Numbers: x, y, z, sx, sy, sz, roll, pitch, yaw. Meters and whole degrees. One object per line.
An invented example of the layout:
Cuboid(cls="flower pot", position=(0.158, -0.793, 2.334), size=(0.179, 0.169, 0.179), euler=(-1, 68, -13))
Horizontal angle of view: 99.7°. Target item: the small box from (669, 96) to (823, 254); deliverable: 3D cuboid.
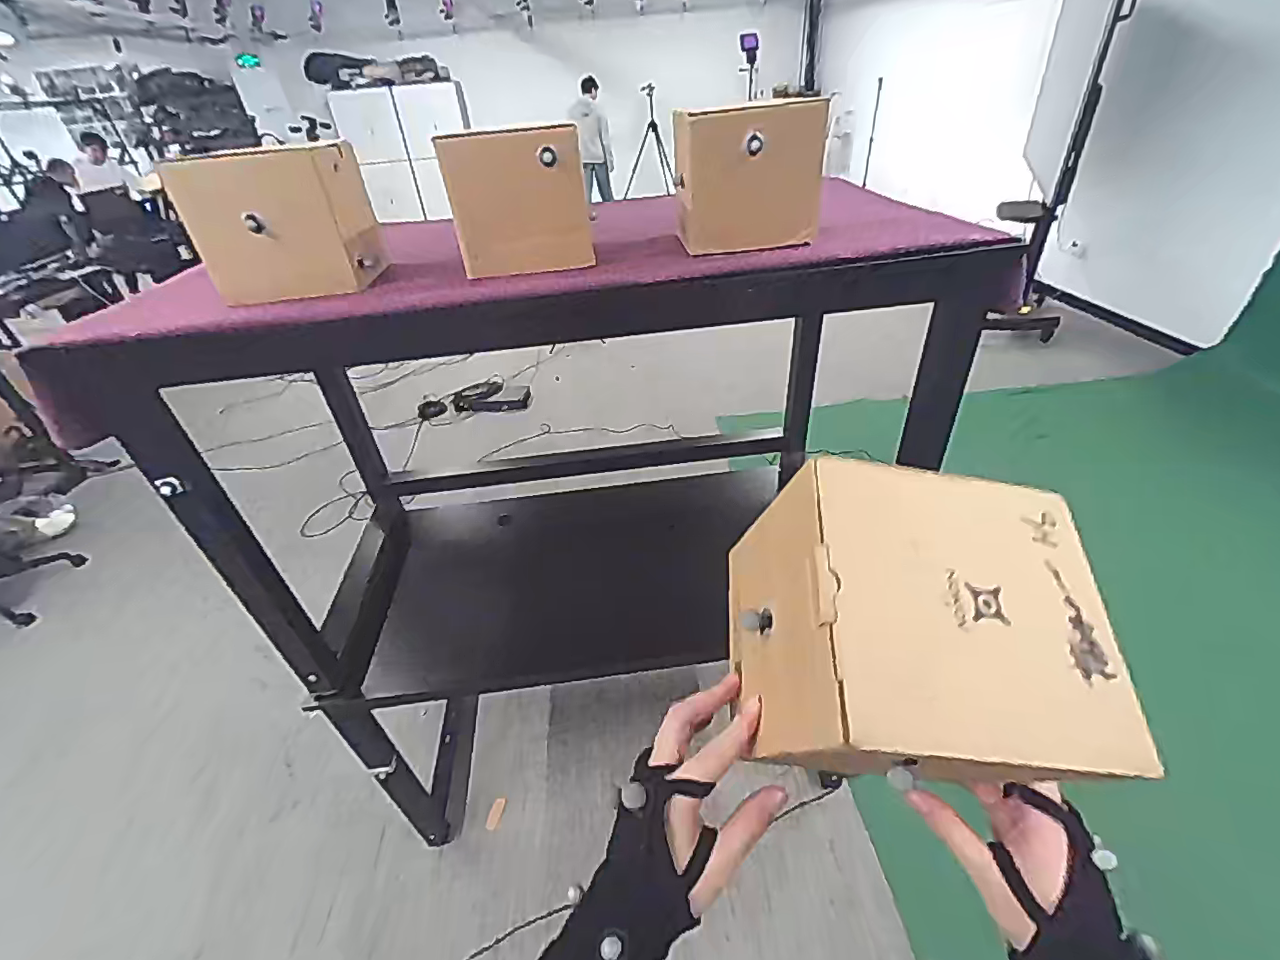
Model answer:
Cuboid(cls="small box", position=(0.139, -0.423, 0.754), size=(0.179, 0.176, 0.168), euler=(-6, 36, 0))

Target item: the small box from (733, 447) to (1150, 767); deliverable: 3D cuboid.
Cuboid(cls="small box", position=(0.168, 0.098, 0.373), size=(0.179, 0.176, 0.168), euler=(8, 62, -6))

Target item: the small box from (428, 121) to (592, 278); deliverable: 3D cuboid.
Cuboid(cls="small box", position=(-0.166, -0.387, 0.748), size=(0.179, 0.176, 0.168), euler=(-7, 35, -3))

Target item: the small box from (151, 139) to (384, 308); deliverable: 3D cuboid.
Cuboid(cls="small box", position=(-0.472, -0.346, 0.726), size=(0.179, 0.176, 0.168), euler=(-9, 36, -4))
